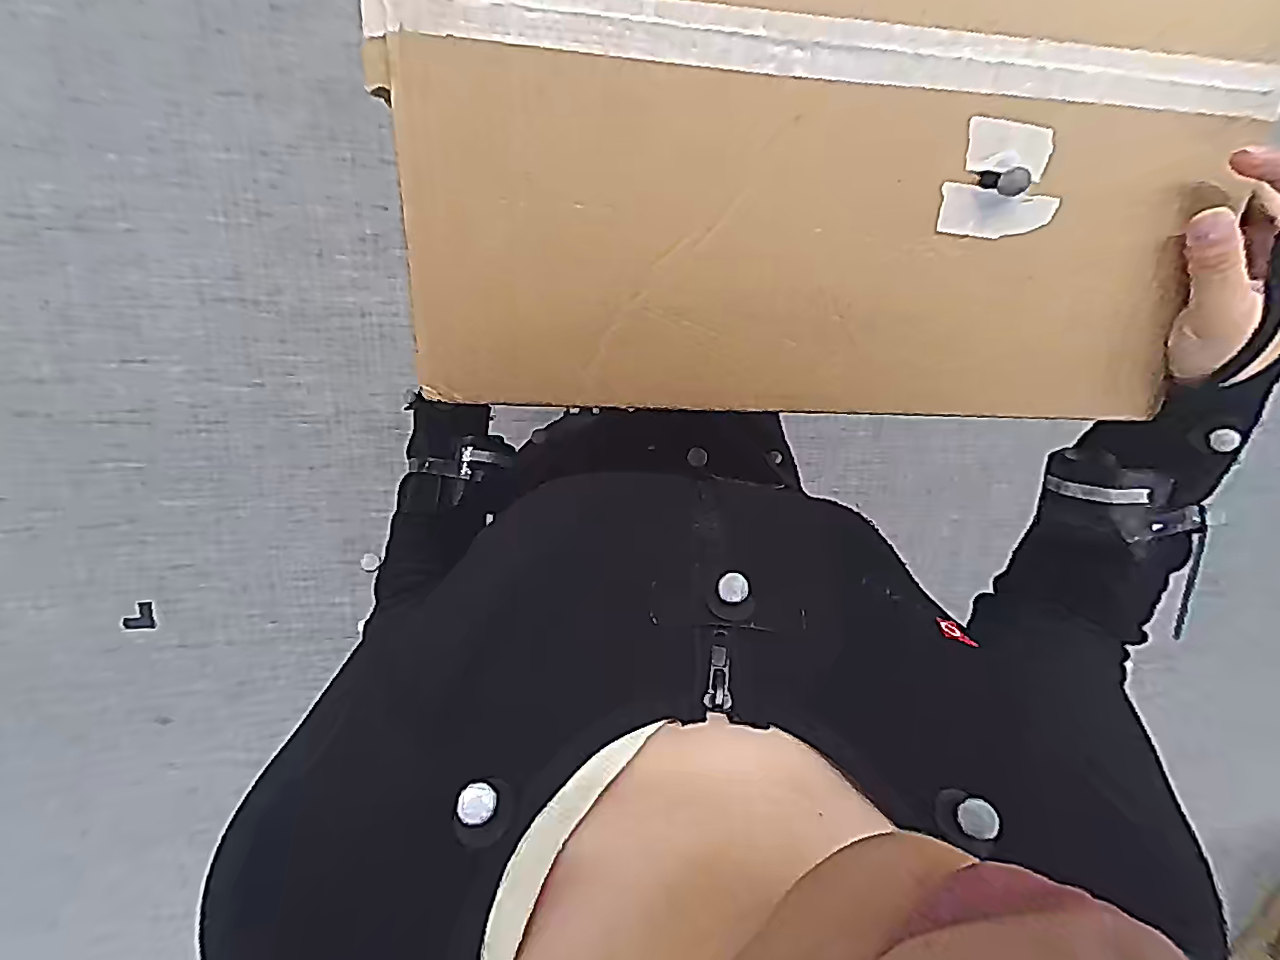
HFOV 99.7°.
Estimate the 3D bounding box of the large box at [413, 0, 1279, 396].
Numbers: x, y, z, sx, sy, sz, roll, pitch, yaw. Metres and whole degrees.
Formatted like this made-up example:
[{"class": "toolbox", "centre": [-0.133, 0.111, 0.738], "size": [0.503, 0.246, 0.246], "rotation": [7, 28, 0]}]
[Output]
[{"class": "large box", "centre": [0.083, -0.242, 0.380], "size": [0.408, 0.320, 0.320], "rotation": [0, 111, -8]}]
